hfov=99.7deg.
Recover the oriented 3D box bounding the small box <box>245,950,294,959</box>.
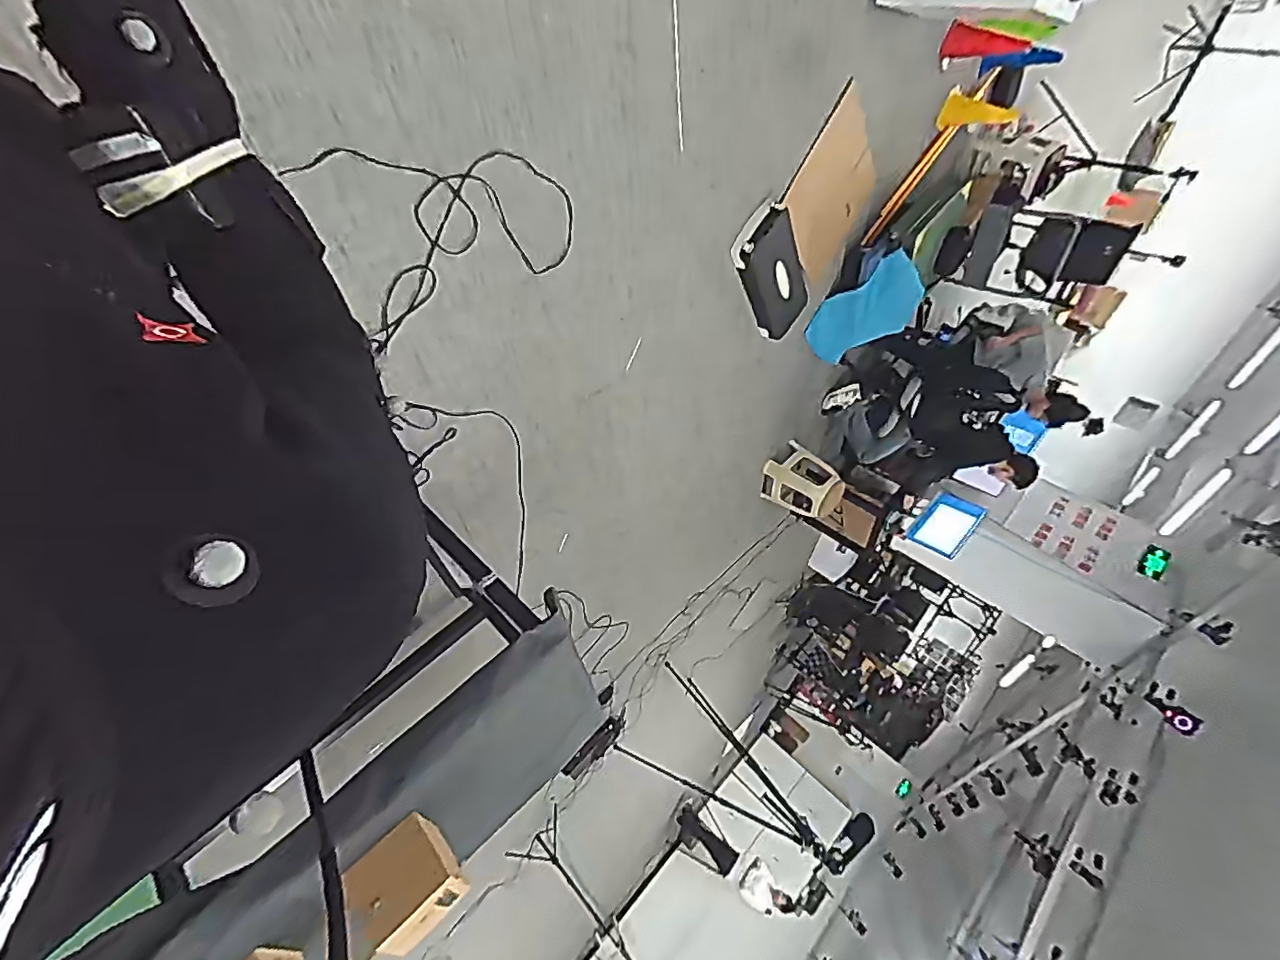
[{"bbox_3d":[-0.746,1.045,1.025,0.179,0.176,0.168,-37,145,-27],"label":"small box"}]
